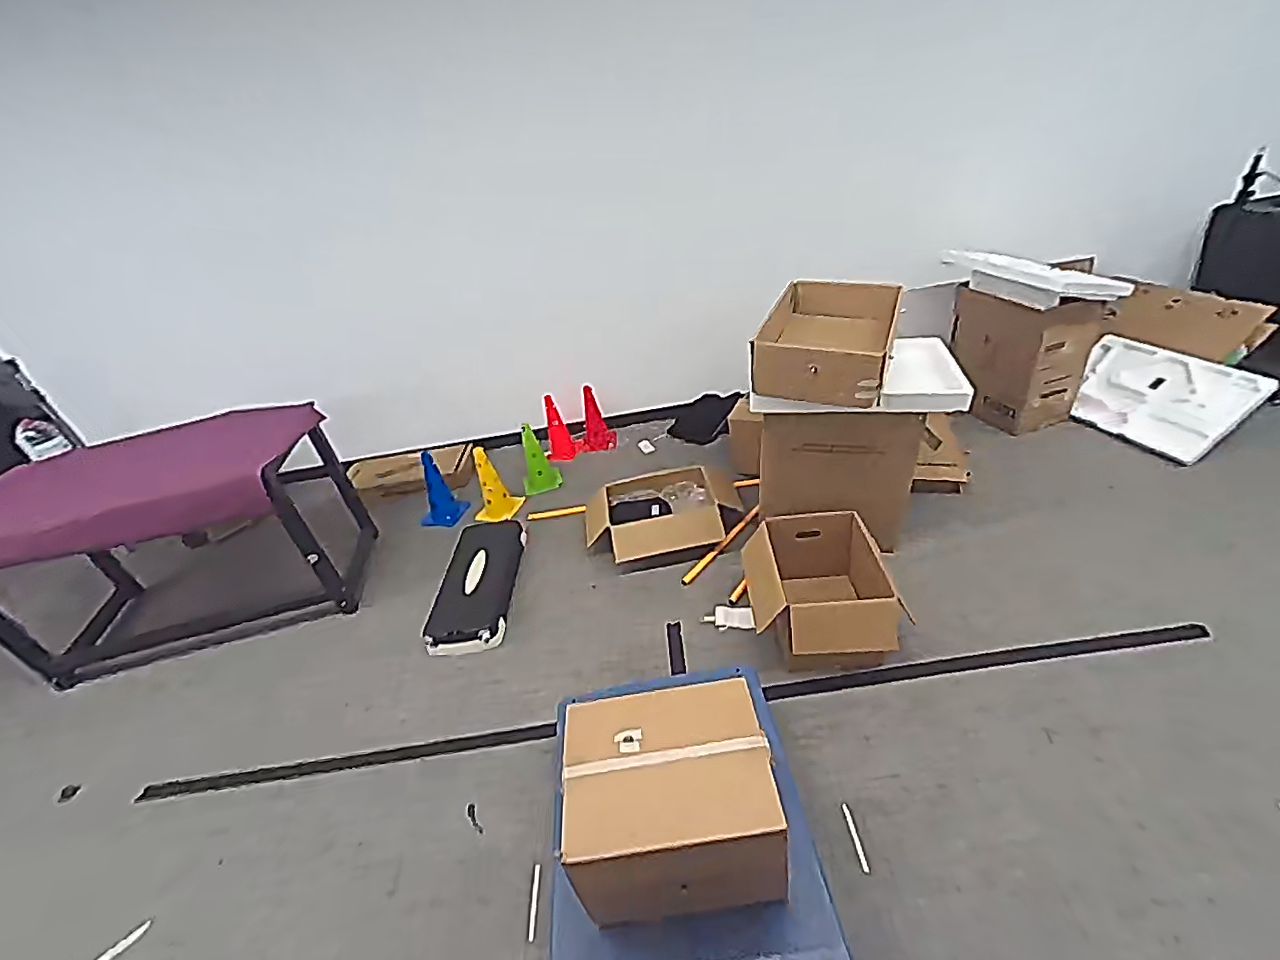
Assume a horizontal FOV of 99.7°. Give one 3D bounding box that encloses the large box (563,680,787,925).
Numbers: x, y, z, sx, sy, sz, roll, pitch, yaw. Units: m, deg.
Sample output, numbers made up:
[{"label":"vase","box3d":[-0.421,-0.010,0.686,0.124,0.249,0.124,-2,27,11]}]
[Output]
[{"label":"large box","box3d":[0.071,0.686,1.158,0.408,0.320,0.320,-11,32,1]}]
